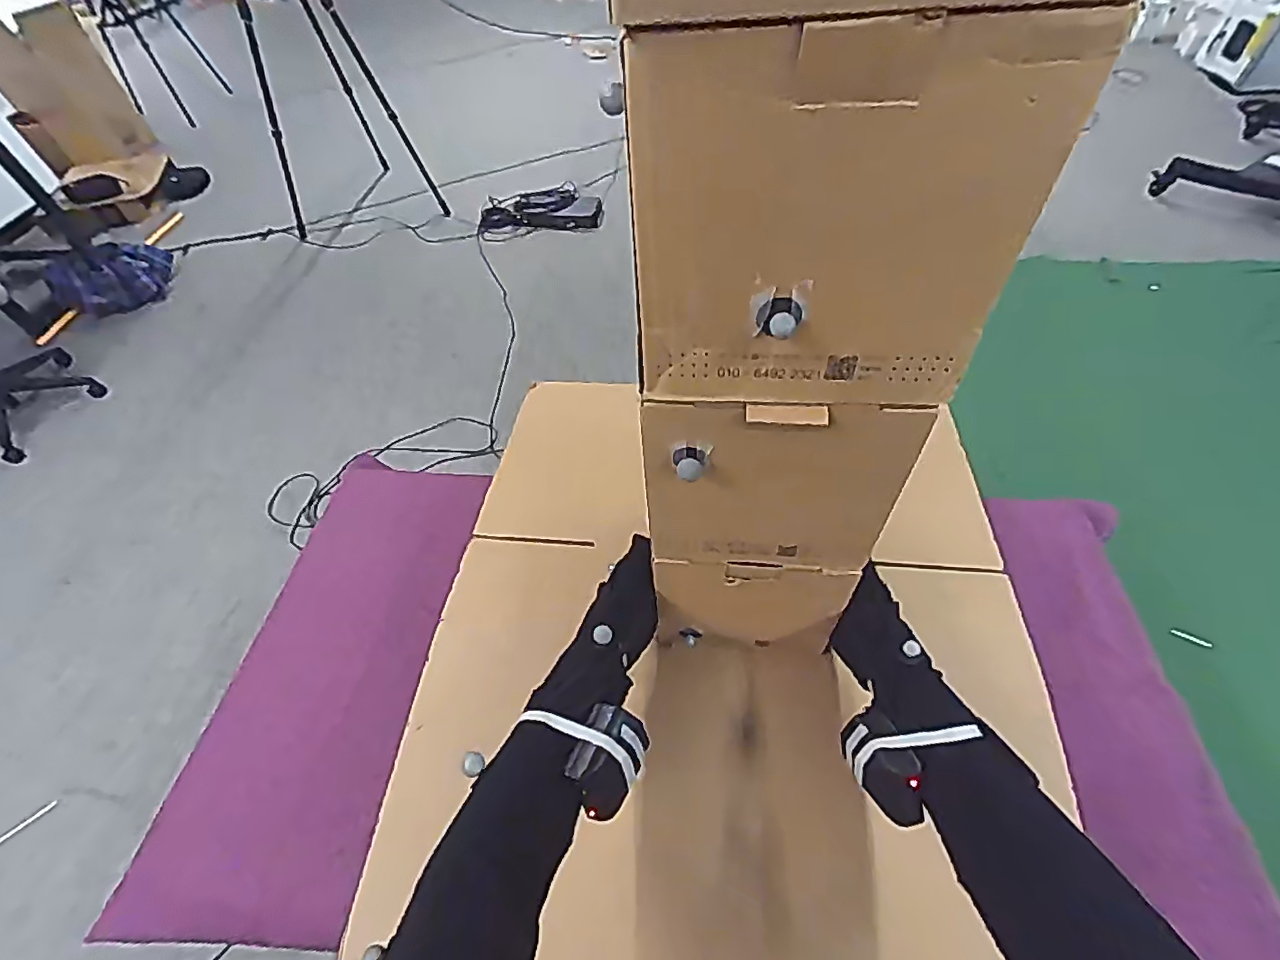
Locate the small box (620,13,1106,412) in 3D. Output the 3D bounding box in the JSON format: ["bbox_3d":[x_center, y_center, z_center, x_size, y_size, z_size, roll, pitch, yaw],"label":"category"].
[{"bbox_3d":[0.083,-0.159,0.299,0.168,0.176,0.179,1,50,5],"label":"small box"}]

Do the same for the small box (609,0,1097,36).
[{"bbox_3d":[0.070,-0.264,0.173,0.168,0.176,0.179,1,50,5],"label":"small box"}]

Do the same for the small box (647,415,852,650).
[{"bbox_3d":[0.102,0.055,0.545,0.168,0.176,0.179,3,50,7],"label":"small box"}]
